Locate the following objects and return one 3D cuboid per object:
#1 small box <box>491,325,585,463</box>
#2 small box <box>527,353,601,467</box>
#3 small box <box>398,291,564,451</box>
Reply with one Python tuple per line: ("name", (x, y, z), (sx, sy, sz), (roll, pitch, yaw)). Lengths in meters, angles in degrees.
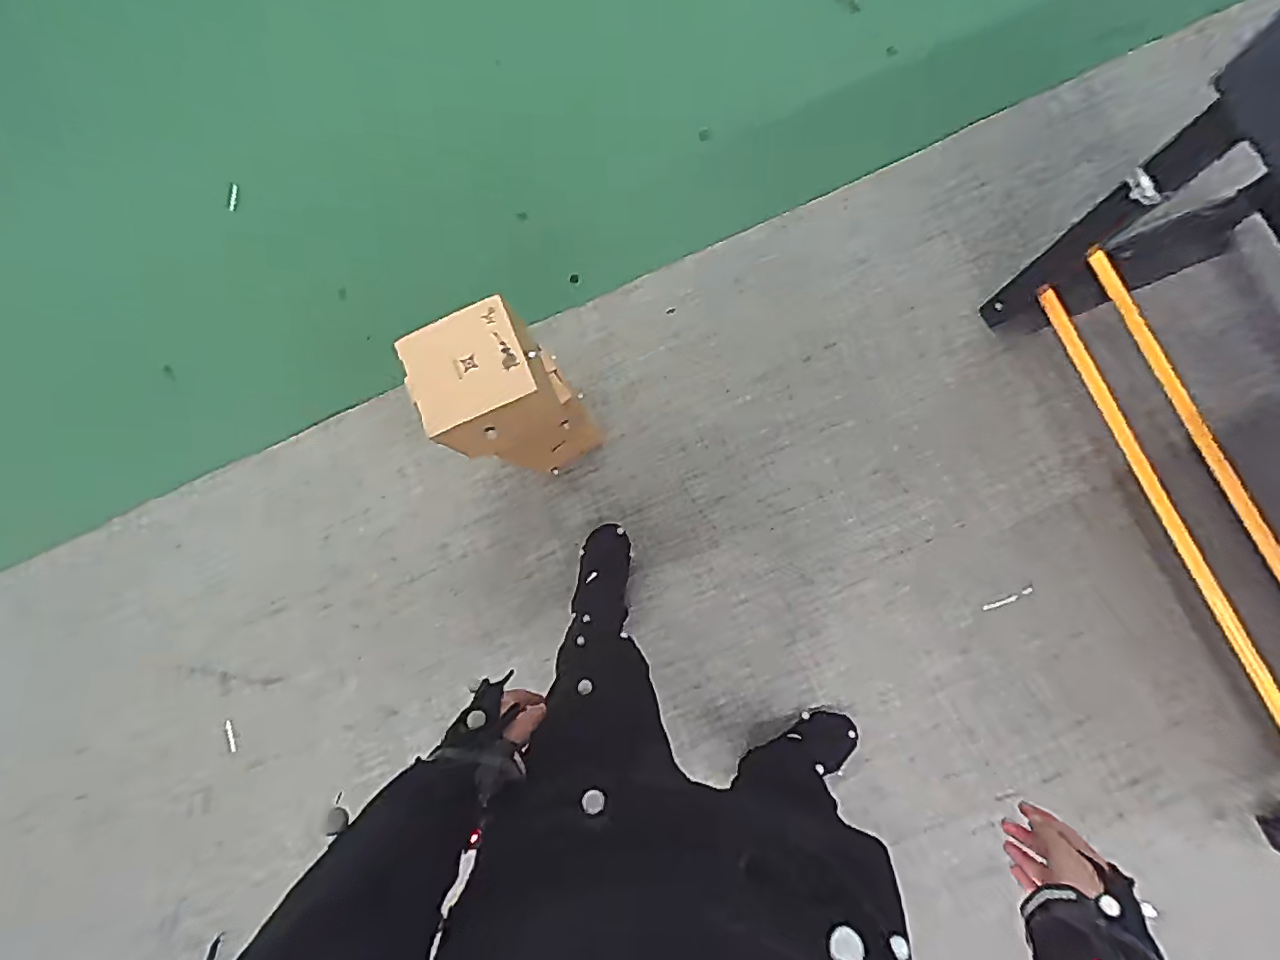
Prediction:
("small box", (-0.221, -0.154, 1.029), (0.179, 0.176, 0.168), (-36, 79, 0))
("small box", (-0.204, -0.143, 1.190), (0.168, 0.176, 0.179), (-33, 79, 0))
("small box", (-0.244, -0.161, 0.864), (0.179, 0.176, 0.168), (-23, 80, 3))
